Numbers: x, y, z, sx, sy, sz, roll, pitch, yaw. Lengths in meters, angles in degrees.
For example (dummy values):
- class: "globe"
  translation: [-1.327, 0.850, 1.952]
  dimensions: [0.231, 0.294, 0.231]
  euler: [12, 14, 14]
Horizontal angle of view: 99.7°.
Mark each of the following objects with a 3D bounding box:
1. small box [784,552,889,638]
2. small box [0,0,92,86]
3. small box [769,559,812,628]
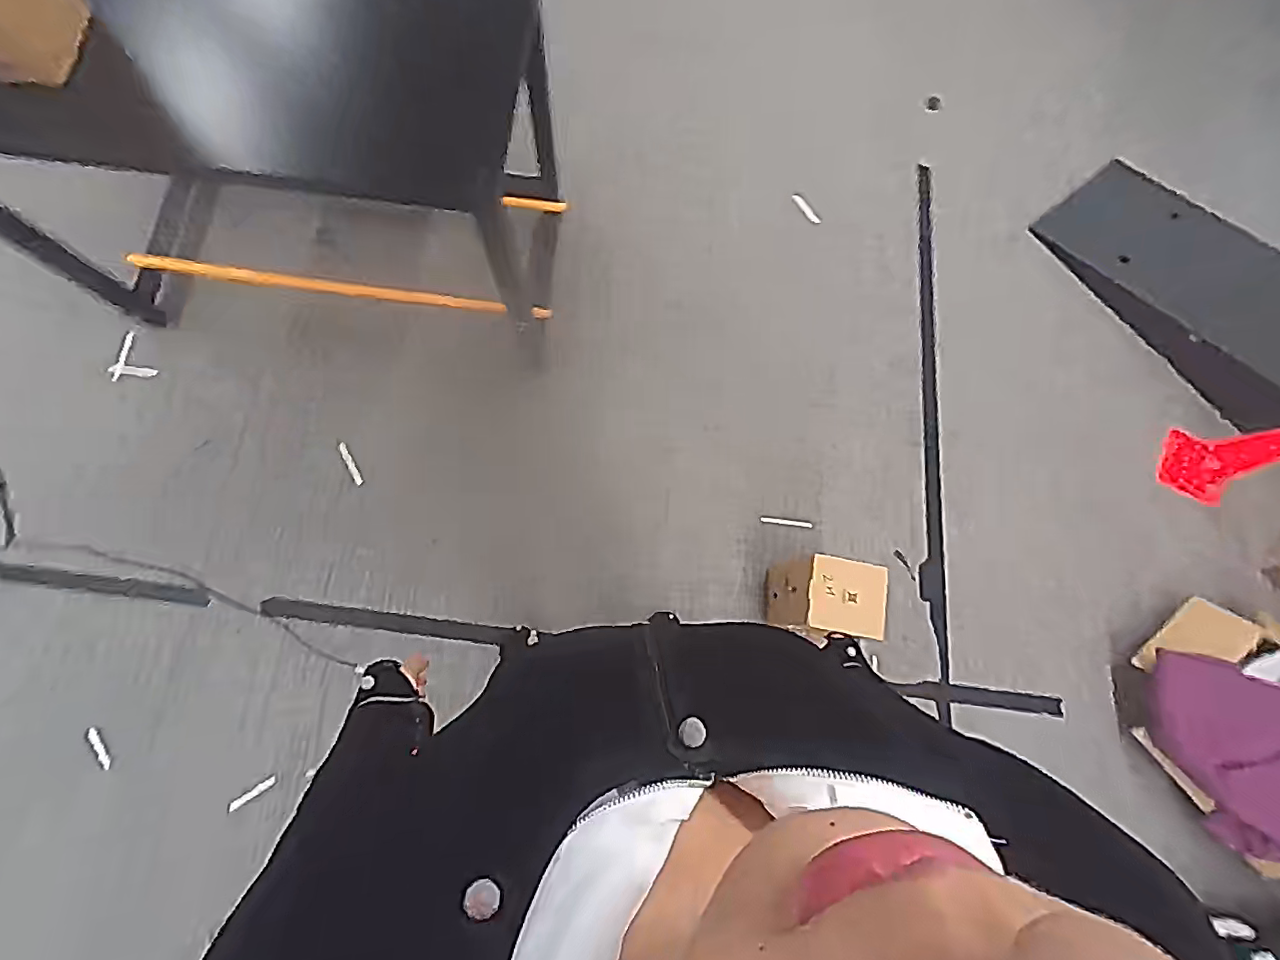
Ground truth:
- class: "small box"
  translation: [0.464, 0.275, 1.294]
  dimensions: [0.179, 0.176, 0.168]
  euler: [11, 76, 0]
- class: "small box"
  translation: [-1.062, -0.791, 0.877]
  dimensions: [0.168, 0.176, 0.179]
  euler: [2, 77, -2]
- class: "small box"
  translation: [0.452, 0.312, 1.456]
  dimensions: [0.179, 0.176, 0.168]
  euler: [6, 76, -1]
